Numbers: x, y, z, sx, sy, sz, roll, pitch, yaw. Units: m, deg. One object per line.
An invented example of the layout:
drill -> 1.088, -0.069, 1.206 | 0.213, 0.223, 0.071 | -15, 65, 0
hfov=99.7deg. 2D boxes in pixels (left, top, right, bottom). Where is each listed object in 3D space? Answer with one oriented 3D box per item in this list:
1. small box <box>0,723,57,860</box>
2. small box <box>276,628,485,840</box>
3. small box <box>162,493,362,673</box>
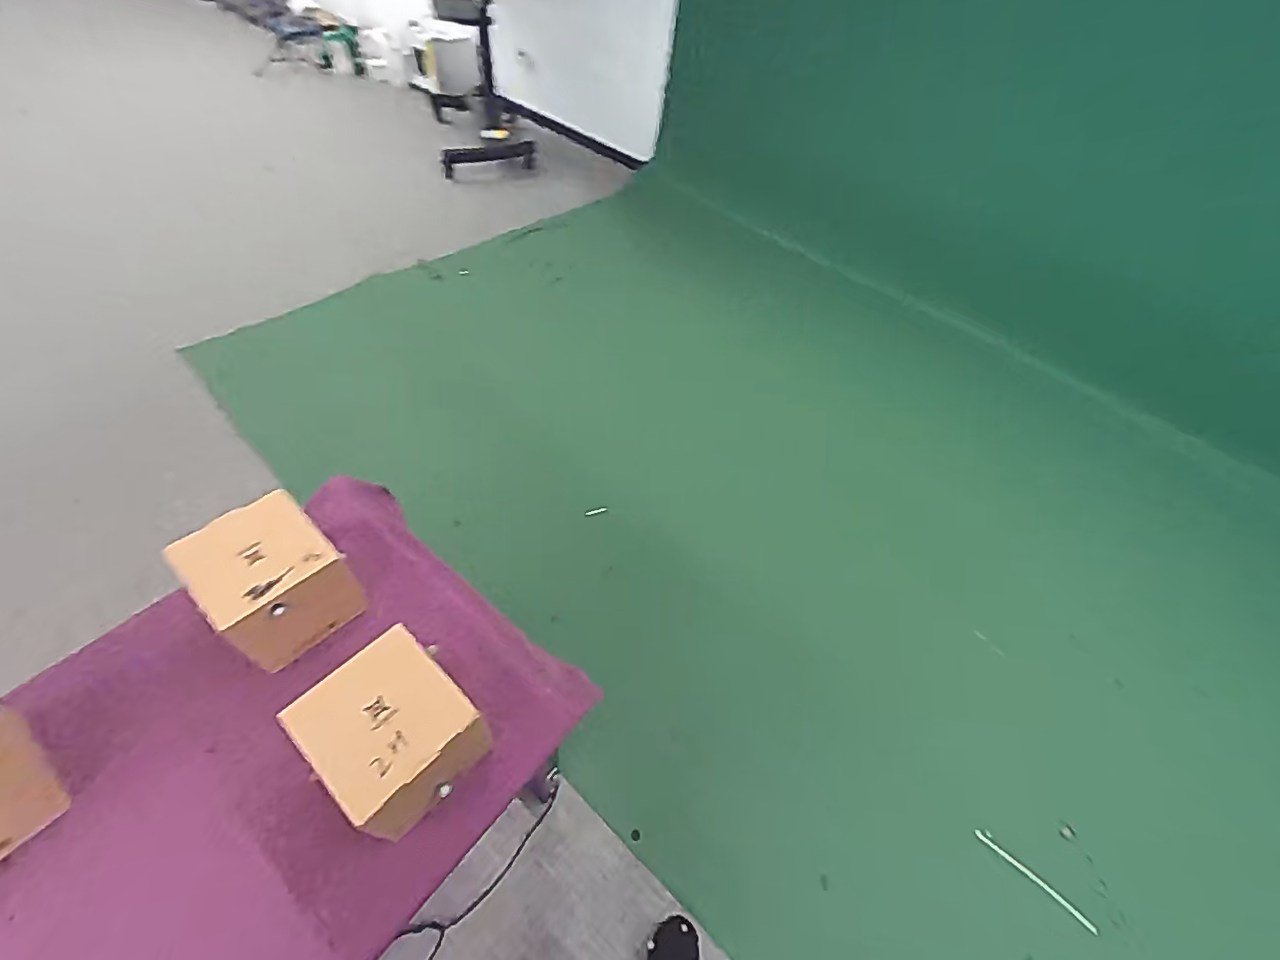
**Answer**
small box -> -0.840, 0.371, 0.609 | 0.179, 0.176, 0.168 | 36, 55, 18
small box -> -0.328, 0.338, 0.714 | 0.179, 0.176, 0.168 | 38, 56, 21
small box -> -0.564, 0.160, 0.829 | 0.179, 0.176, 0.168 | 38, 56, 21
